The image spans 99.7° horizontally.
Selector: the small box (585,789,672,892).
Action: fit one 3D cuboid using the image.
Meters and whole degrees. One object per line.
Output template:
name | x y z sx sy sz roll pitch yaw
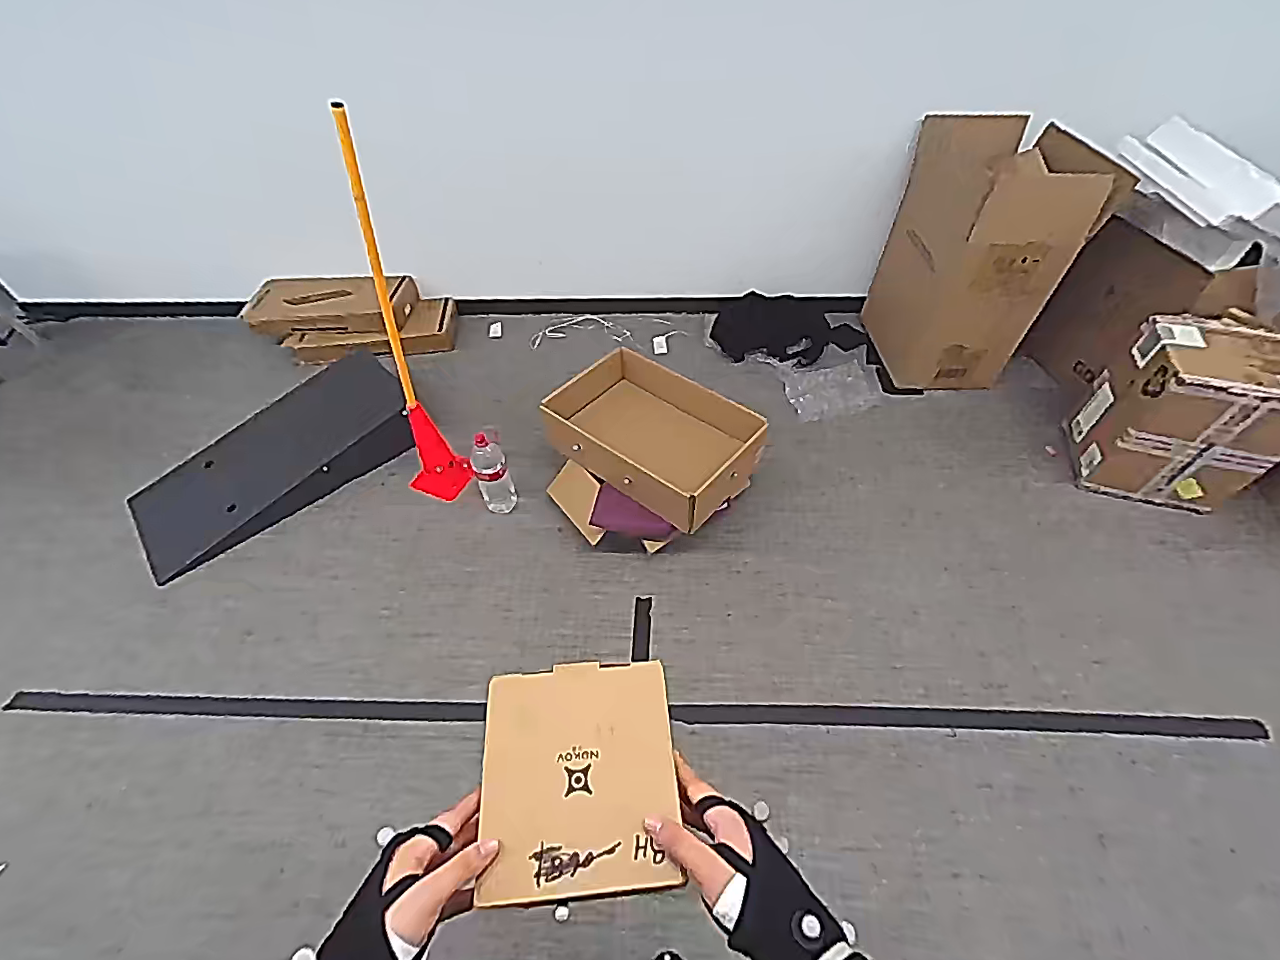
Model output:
small box | -0.018 0.792 1.188 0.179 0.176 0.168 -1 48 4
